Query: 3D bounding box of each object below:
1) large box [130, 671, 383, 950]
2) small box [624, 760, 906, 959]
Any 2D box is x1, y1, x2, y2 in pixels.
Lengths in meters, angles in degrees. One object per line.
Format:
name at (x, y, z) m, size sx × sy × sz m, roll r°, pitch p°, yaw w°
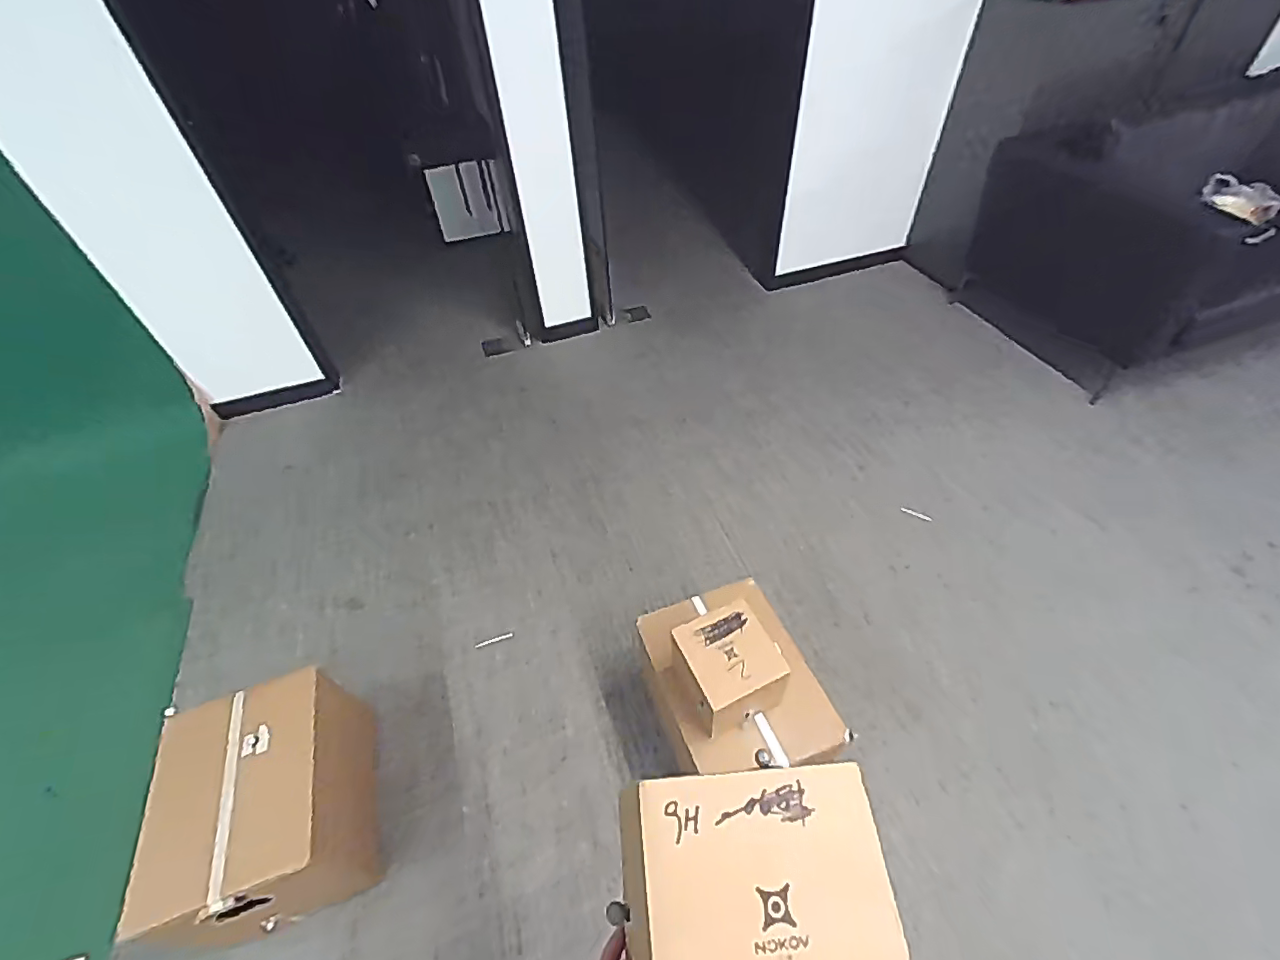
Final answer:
large box at (-0.789, 0.712, 1.183) m, size 0.320 × 0.320 × 0.408 m, roll -18°, pitch 48°, yaw -11°
small box at (0.079, 0.324, 0.419) m, size 0.168 × 0.176 × 0.179 m, roll -1°, pitch 59°, yaw -8°
